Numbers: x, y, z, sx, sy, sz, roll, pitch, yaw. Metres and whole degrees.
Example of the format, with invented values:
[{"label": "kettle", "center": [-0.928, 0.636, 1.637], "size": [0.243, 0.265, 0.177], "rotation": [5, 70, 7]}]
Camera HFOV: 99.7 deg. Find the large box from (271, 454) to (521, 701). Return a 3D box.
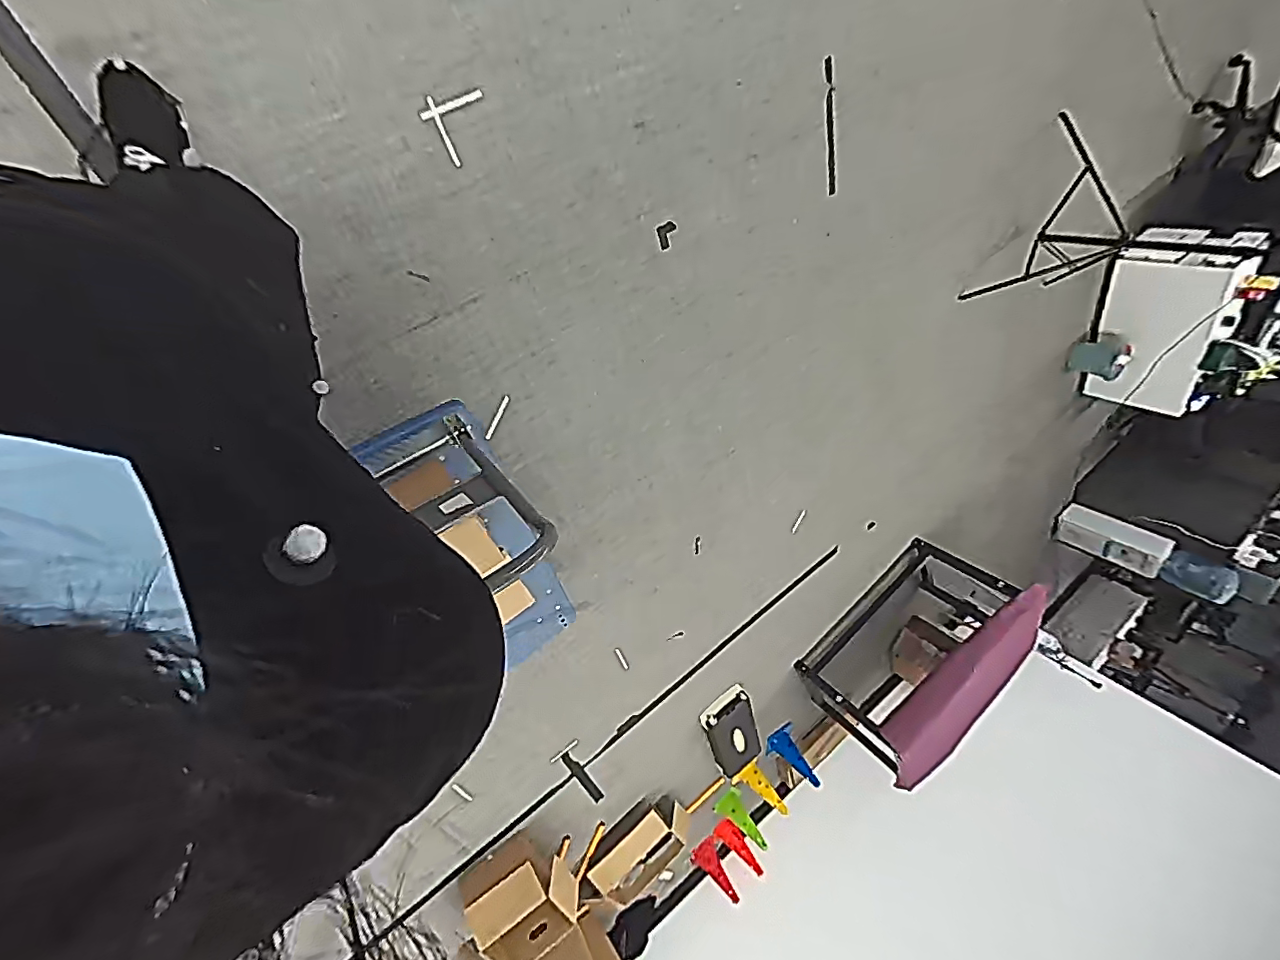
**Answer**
[{"label": "large box", "center": [-0.561, 0.209, 1.260], "size": [0.408, 0.320, 0.320], "rotation": [-34, 129, -15]}]
